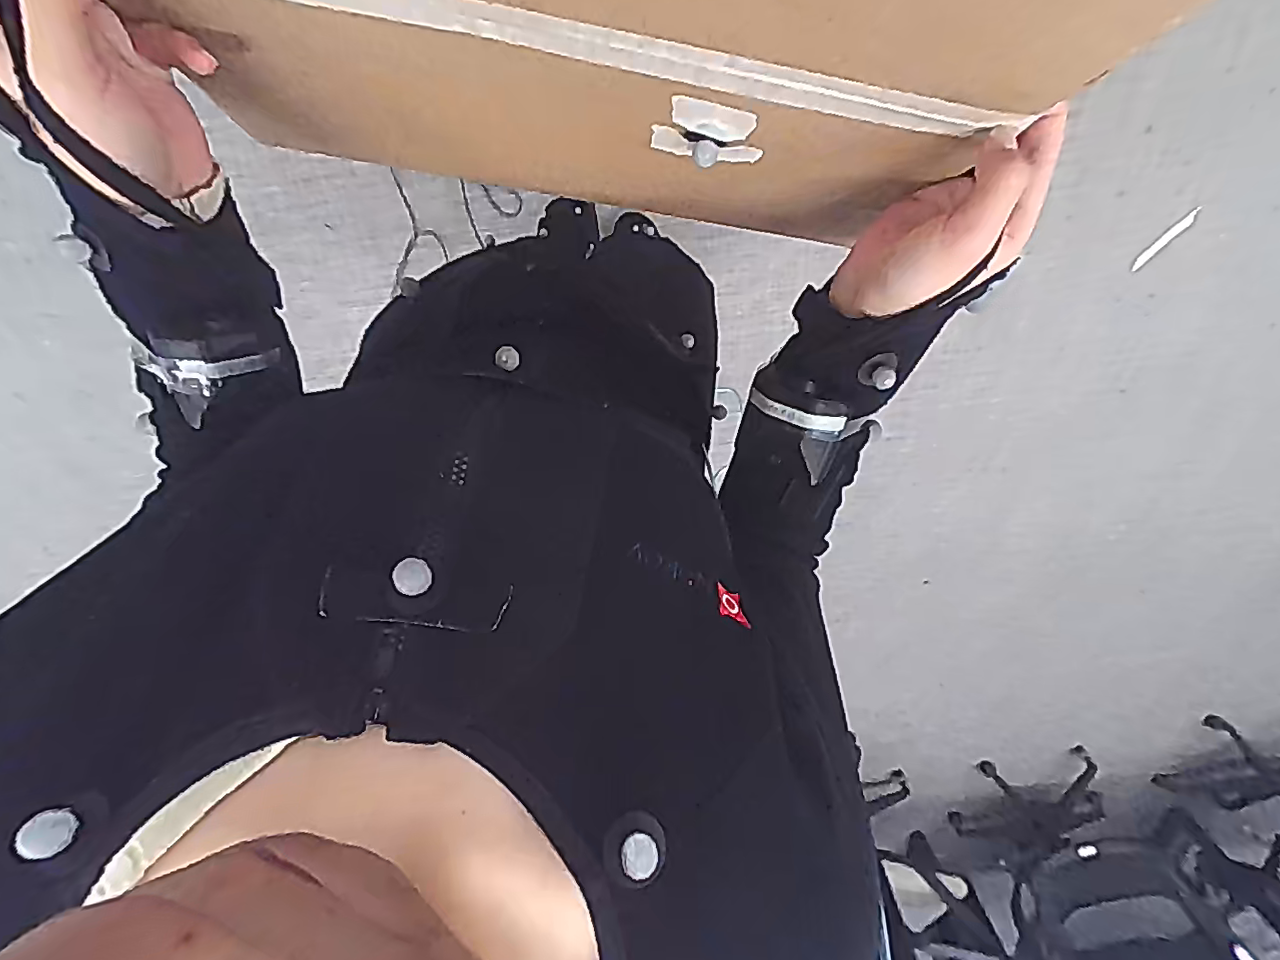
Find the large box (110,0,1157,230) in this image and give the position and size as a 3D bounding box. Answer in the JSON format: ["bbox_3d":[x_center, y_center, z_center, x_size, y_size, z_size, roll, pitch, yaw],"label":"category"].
[{"bbox_3d":[-0.013,-0.337,0.213,0.408,0.320,0.320,5,95,-7],"label":"large box"}]
